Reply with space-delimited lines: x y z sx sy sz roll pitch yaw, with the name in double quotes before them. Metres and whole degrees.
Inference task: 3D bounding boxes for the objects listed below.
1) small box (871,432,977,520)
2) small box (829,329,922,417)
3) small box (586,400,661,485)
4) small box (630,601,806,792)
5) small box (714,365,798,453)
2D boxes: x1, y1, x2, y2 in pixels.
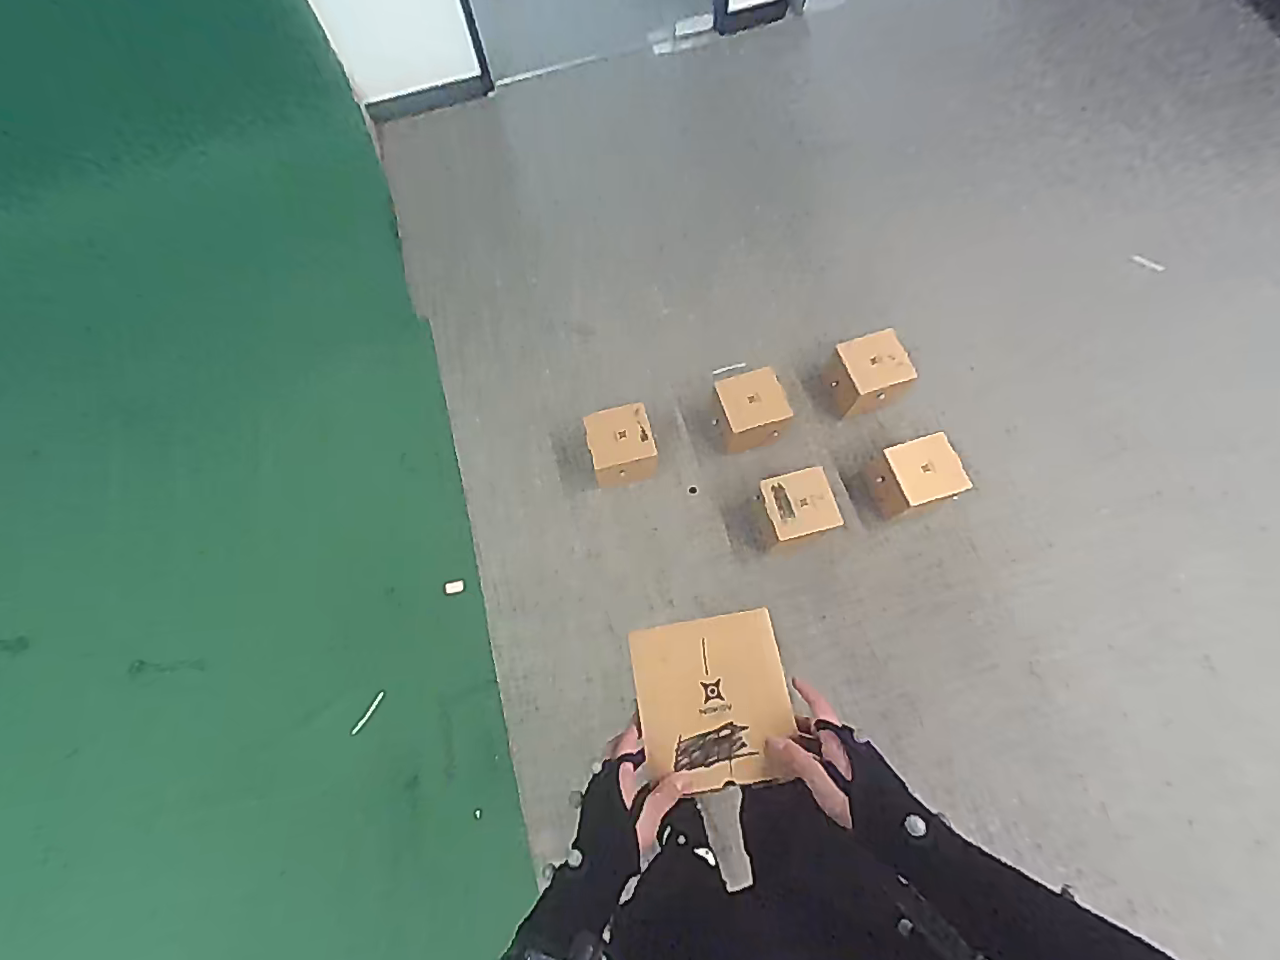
"small box" 0.749 -0.004 1.459 0.179 0.176 0.168 -17 71 -4
"small box" 0.665 -0.302 1.560 0.179 0.176 0.168 -17 72 -3
"small box" -0.041 -0.099 1.524 0.179 0.176 0.168 -13 71 -1
"small box" 0.086 0.258 0.659 0.168 0.176 0.179 -9 67 0
"small box" 0.323 -0.197 1.541 0.179 0.176 0.168 -16 71 -3
